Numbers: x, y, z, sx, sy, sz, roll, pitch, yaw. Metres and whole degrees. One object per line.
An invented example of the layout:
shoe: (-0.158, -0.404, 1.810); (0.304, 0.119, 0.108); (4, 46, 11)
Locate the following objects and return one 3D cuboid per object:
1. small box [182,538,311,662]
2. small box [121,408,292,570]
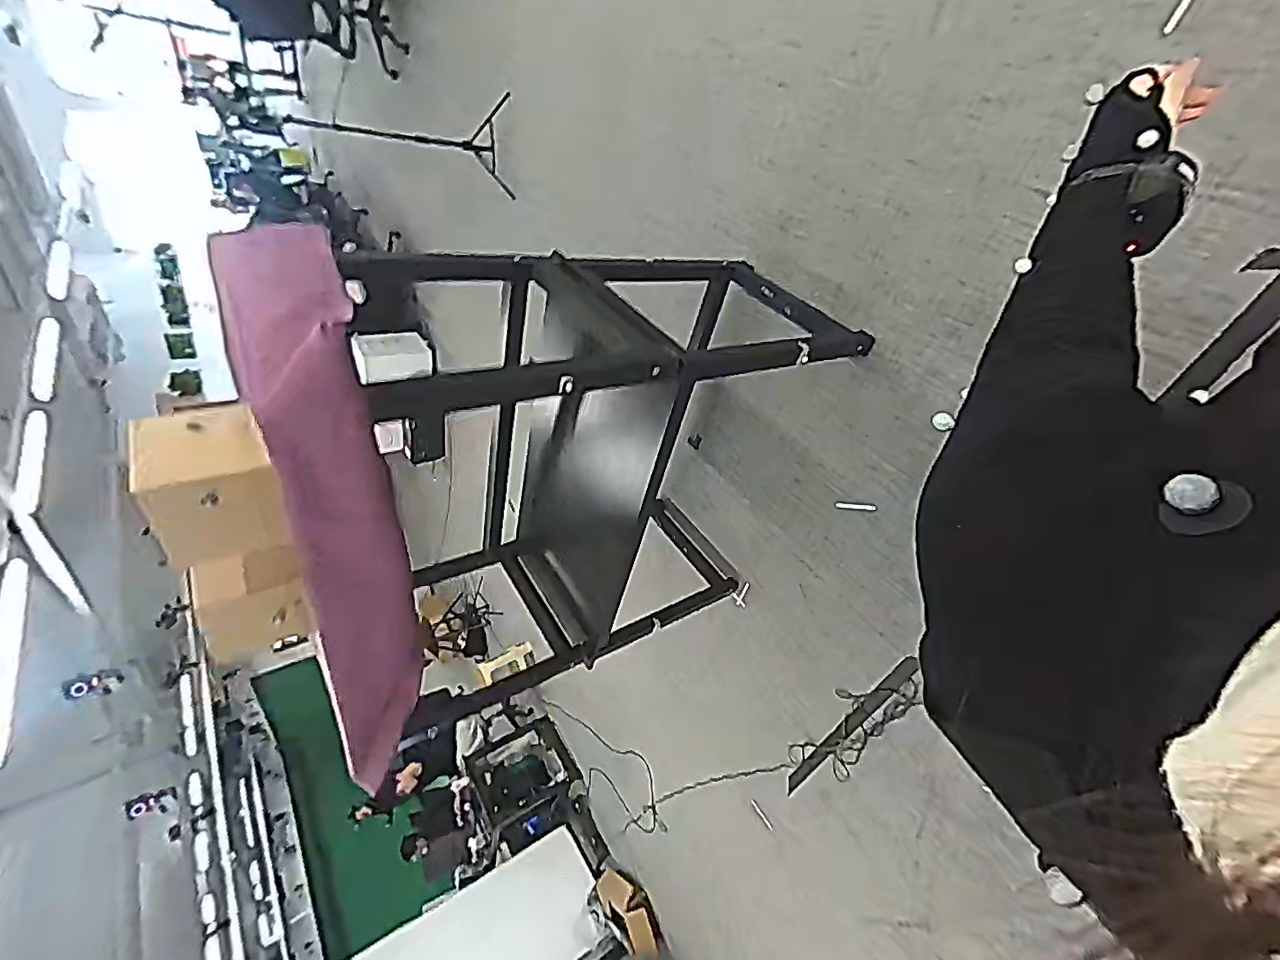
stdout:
small box: (-0.746, 0.207, 1.035); (0.179, 0.176, 0.168); (47, 138, 35)
small box: (-0.673, 0.005, 0.852); (0.168, 0.176, 0.179); (51, 141, 33)
